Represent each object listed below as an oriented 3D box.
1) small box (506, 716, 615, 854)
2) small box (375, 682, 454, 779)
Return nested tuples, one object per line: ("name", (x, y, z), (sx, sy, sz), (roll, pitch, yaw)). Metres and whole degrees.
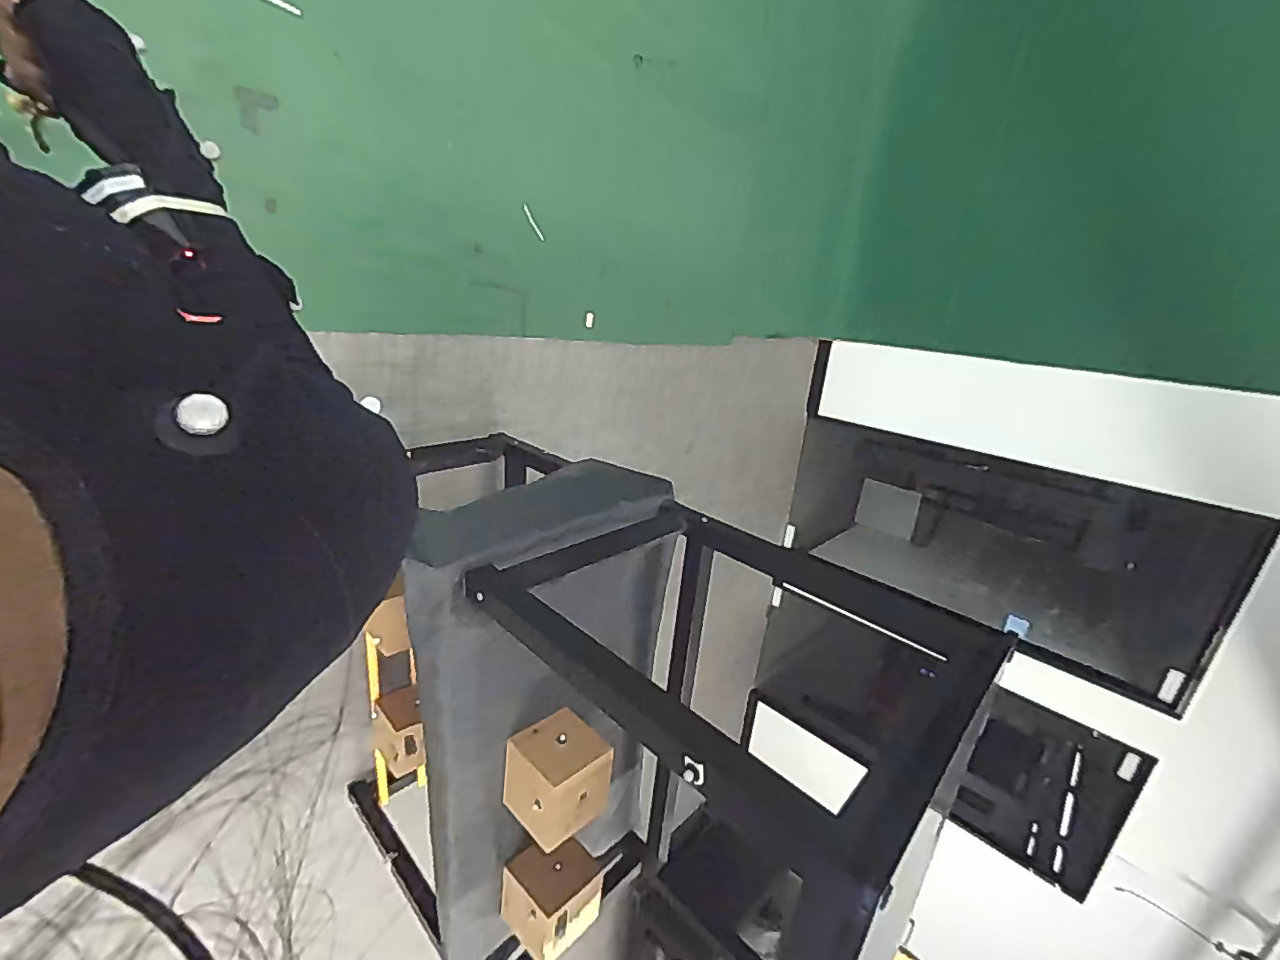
("small box", (-0.177, 0.649, 1.183), (0.168, 0.176, 0.179), (-11, 115, -46))
("small box", (-0.685, 0.749, 1.635), (0.179, 0.176, 0.168), (-10, 114, -46))
